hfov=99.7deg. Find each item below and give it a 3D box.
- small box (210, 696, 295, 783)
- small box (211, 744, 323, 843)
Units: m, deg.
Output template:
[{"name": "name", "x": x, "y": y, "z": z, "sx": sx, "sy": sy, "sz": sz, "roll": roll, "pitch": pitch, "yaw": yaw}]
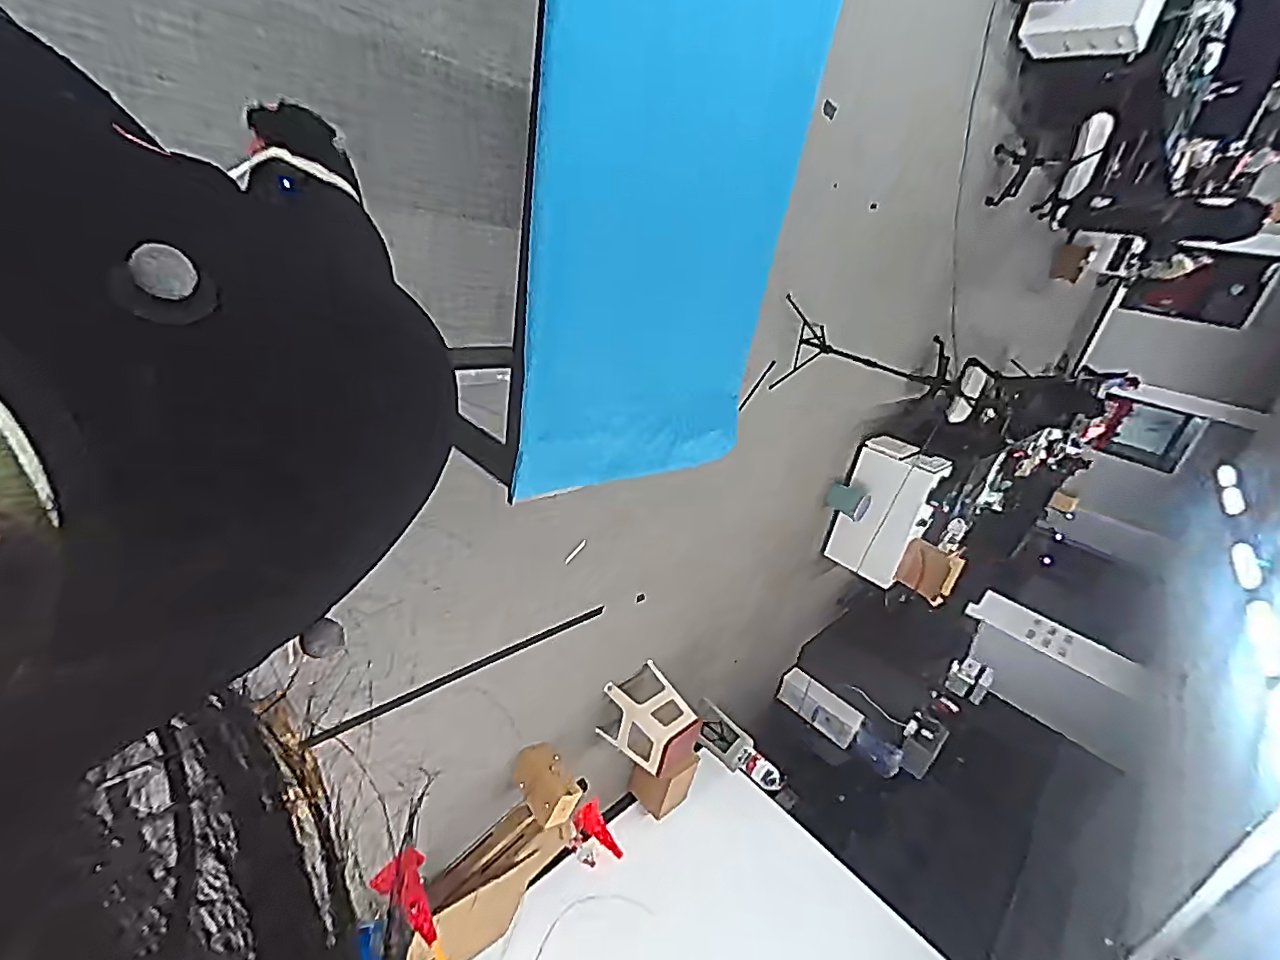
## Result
[{"name": "small box", "x": -1.130, "y": 0.774, "z": 1.577, "sx": 0.179, "sy": 0.176, "sz": 0.168, "roll": -12, "pitch": 124, "yaw": -46}, {"name": "small box", "x": -1.016, "y": 0.853, "z": 1.482, "sx": 0.168, "sy": 0.176, "sz": 0.179, "roll": -55, "pitch": 144, "yaw": -5}]
